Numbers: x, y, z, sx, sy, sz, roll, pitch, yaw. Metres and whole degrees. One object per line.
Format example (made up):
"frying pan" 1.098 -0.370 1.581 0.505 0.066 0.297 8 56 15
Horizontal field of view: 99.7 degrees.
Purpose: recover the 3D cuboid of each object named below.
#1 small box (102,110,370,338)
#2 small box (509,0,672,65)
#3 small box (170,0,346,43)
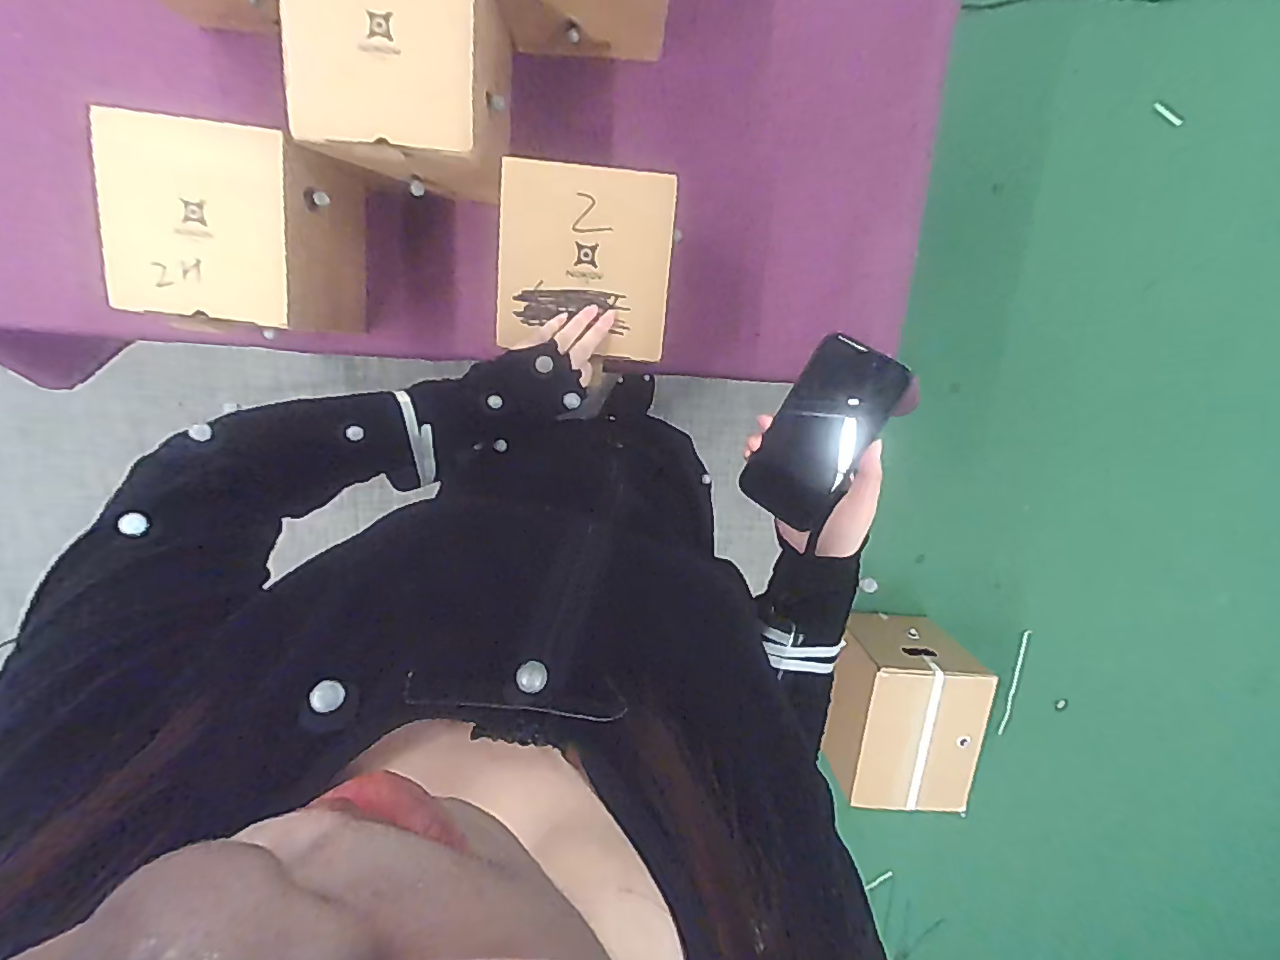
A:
"small box" -0.410 -0.253 0.580 0.168 0.176 0.179 6 103 -3
"small box" -0.049 -0.549 0.525 0.168 0.176 0.179 1 105 -2
"small box" -0.399 -0.558 0.510 0.168 0.176 0.179 3 103 -4
